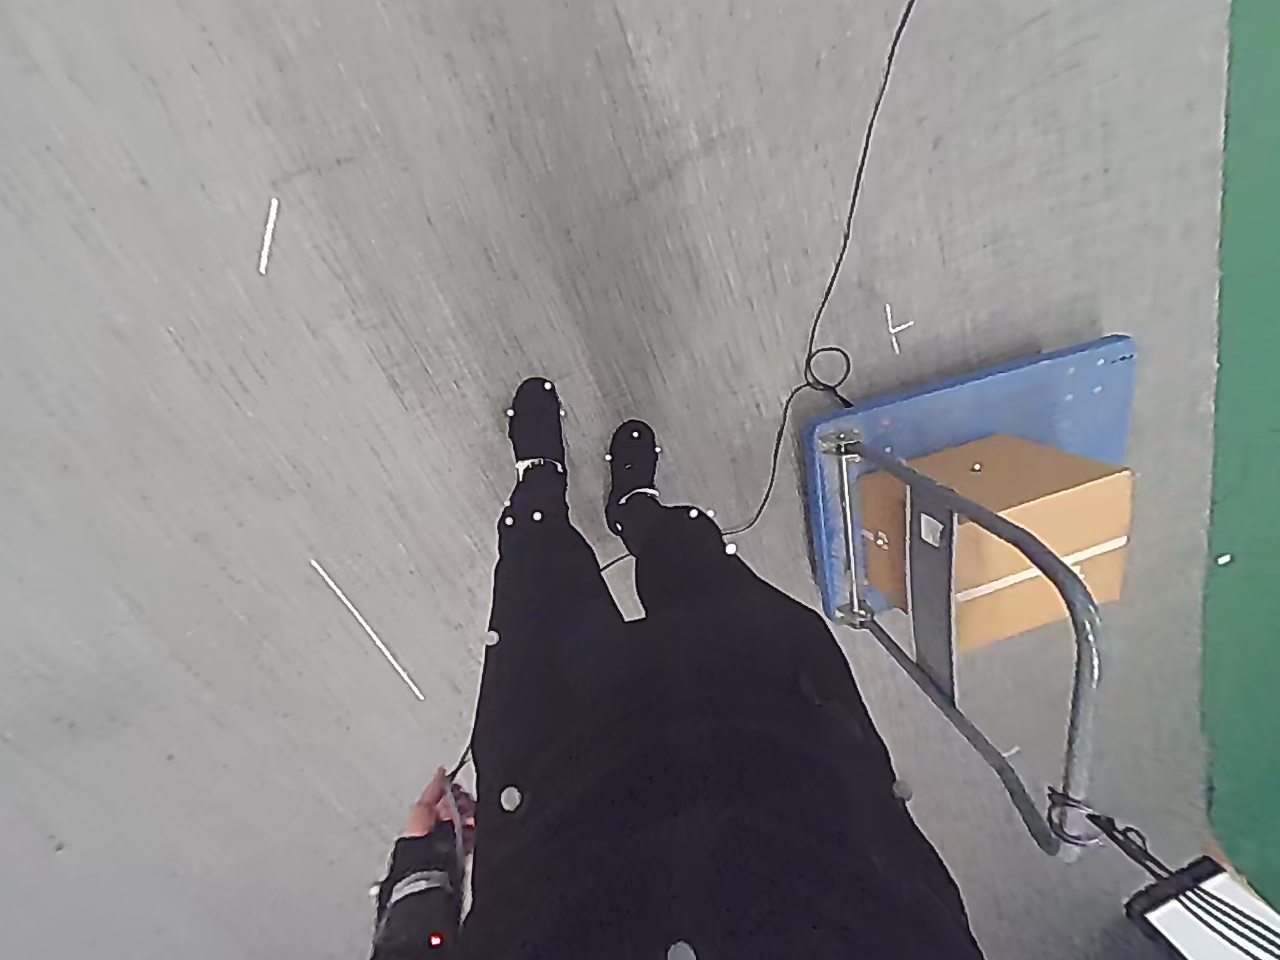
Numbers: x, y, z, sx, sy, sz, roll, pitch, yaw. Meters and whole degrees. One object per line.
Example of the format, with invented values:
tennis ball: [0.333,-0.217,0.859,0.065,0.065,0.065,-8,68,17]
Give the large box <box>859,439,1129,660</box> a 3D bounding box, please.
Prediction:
large box: [0.772,0.134,1.222,0.408,0.320,0.320,-17,111,-7]
